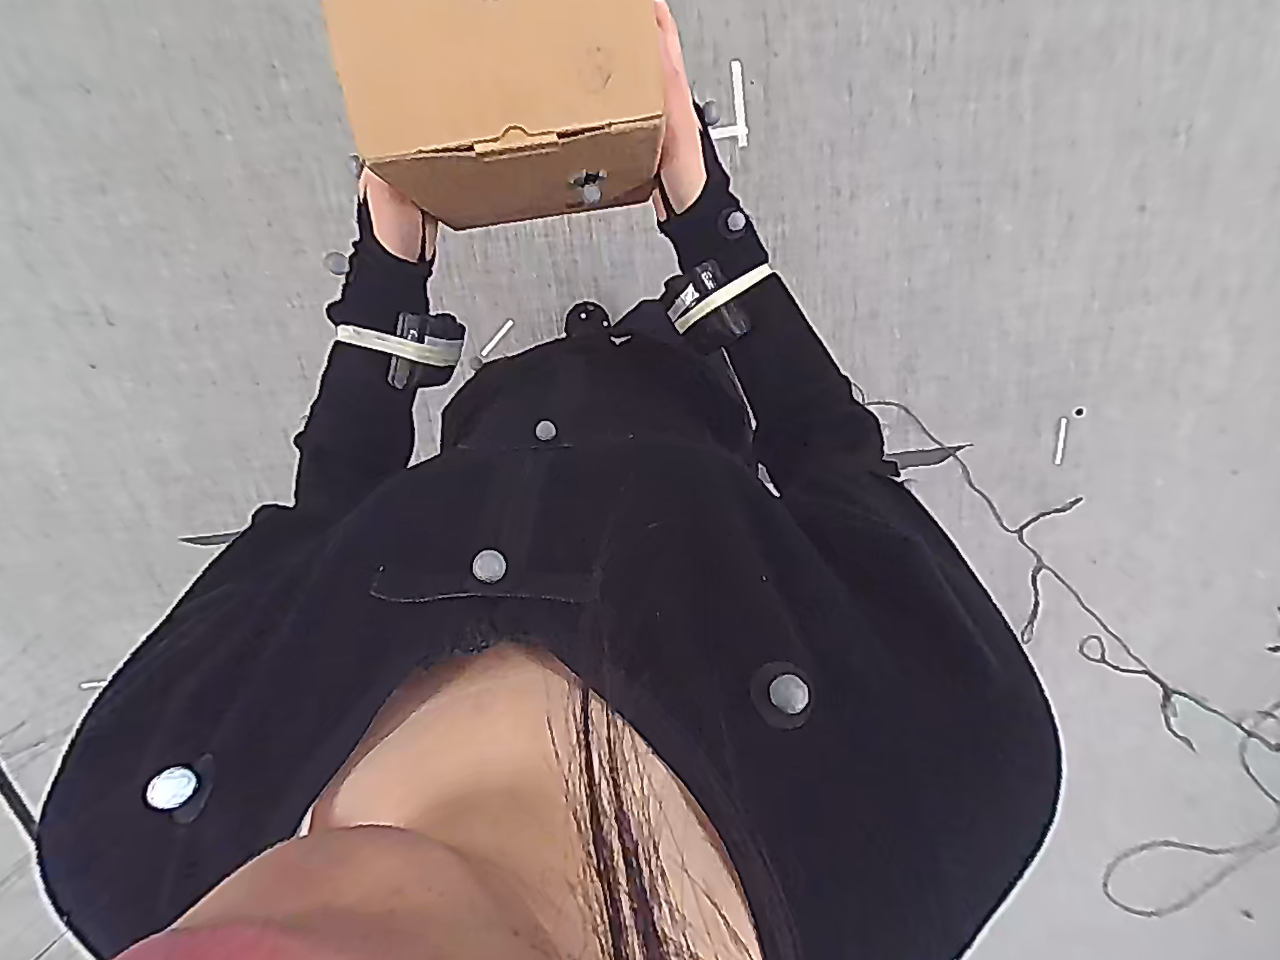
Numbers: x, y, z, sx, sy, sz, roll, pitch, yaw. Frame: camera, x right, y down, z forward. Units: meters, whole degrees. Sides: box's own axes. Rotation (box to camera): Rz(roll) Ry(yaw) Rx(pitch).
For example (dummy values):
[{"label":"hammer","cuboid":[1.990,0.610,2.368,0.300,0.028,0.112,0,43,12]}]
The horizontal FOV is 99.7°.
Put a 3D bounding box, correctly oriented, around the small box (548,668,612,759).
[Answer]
[{"label":"small box","cuboid":[-0.175,0.697,1.626,0.168,0.176,0.179,-8,107,-2]}]
